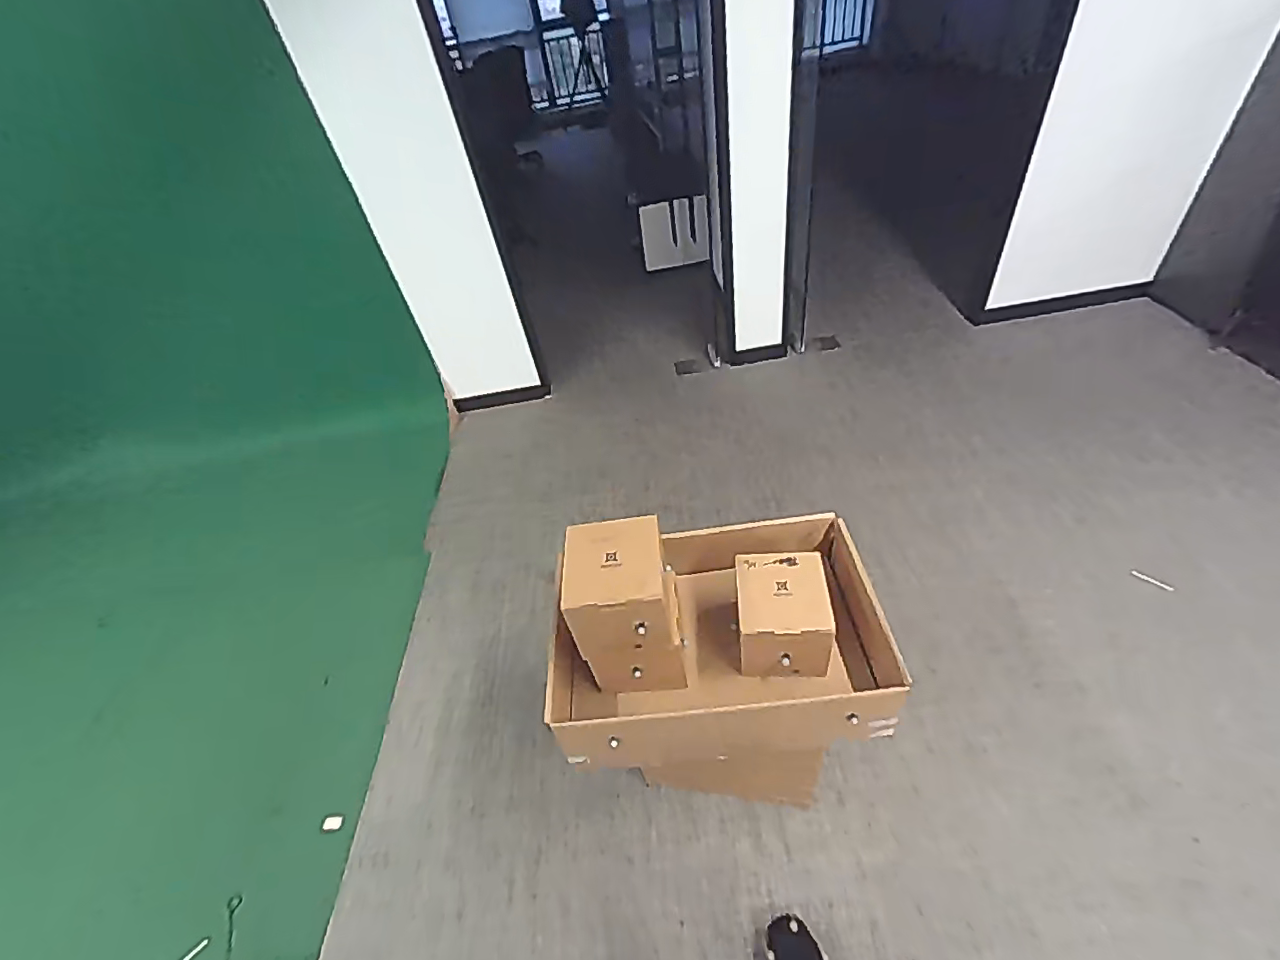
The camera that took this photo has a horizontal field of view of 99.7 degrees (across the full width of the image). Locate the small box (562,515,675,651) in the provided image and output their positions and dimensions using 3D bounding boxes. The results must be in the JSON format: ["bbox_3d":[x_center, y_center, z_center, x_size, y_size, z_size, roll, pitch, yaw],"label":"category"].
[{"bbox_3d":[-0.033,0.190,0.963,0.168,0.176,0.179,-8,43,5],"label":"small box"}]
